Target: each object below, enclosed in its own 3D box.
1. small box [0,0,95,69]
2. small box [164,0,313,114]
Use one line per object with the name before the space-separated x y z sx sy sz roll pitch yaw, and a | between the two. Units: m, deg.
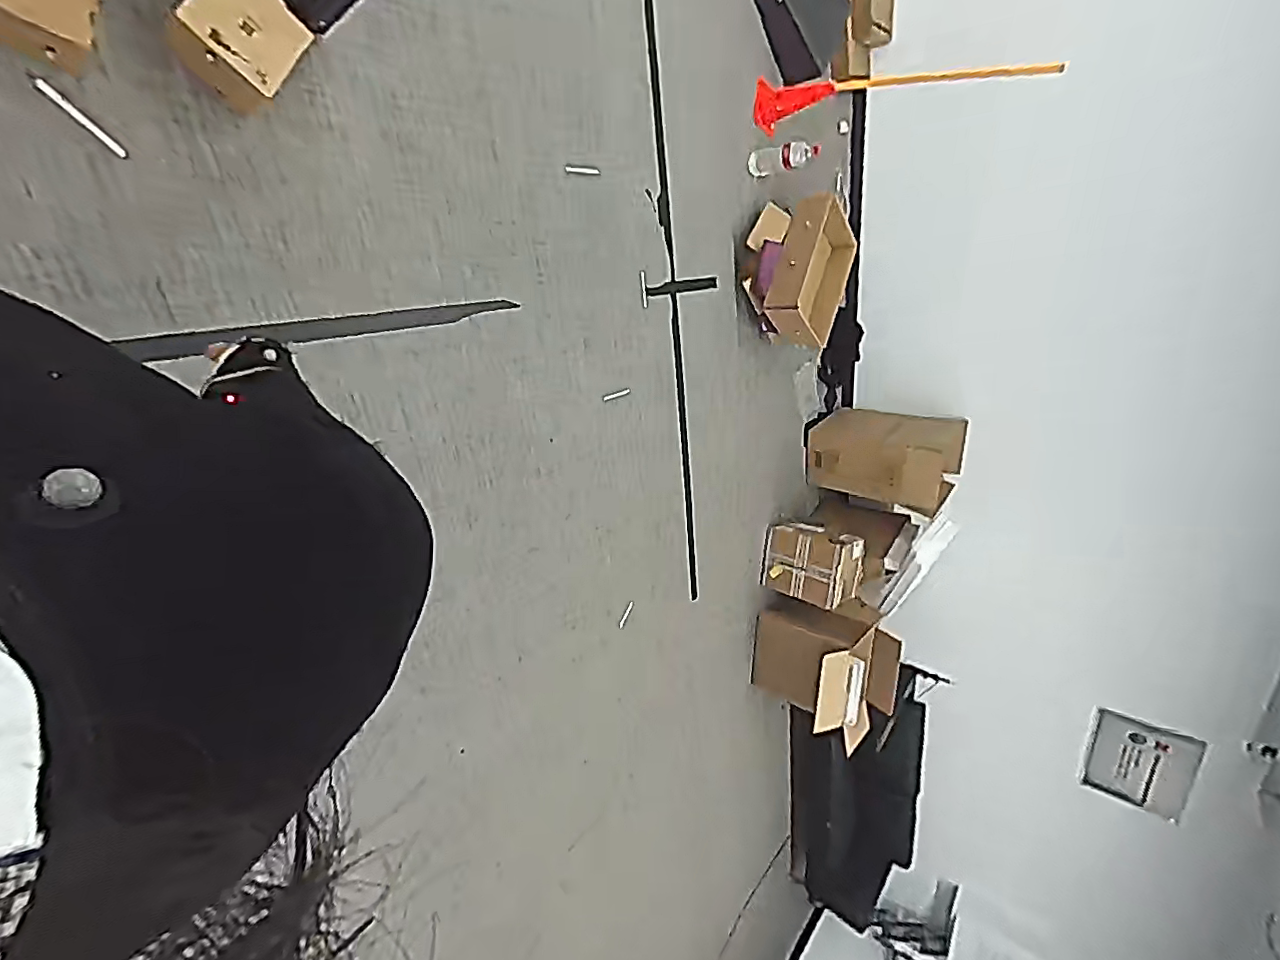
small box | -1.007 -0.806 0.869 0.179 0.176 0.168 3 97 -49
small box | -0.804 -0.883 1.081 0.168 0.176 0.179 37 72 -47
